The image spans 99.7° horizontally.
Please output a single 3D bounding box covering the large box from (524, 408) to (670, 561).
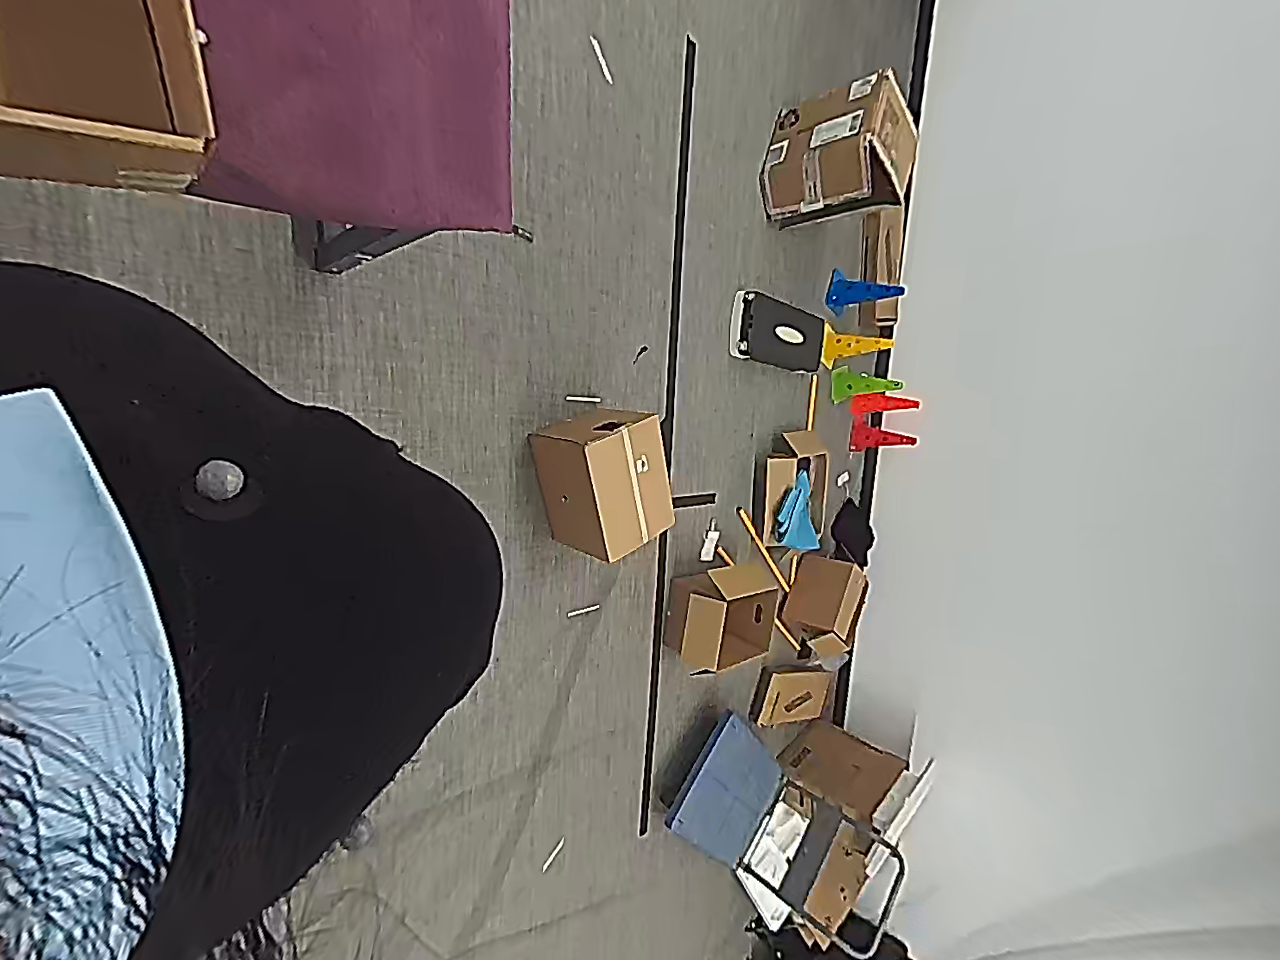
[{"bbox_3d":[-0.139,-0.001,1.818,0.320,0.320,0.408,-29,117,-38],"label":"large box"}]
